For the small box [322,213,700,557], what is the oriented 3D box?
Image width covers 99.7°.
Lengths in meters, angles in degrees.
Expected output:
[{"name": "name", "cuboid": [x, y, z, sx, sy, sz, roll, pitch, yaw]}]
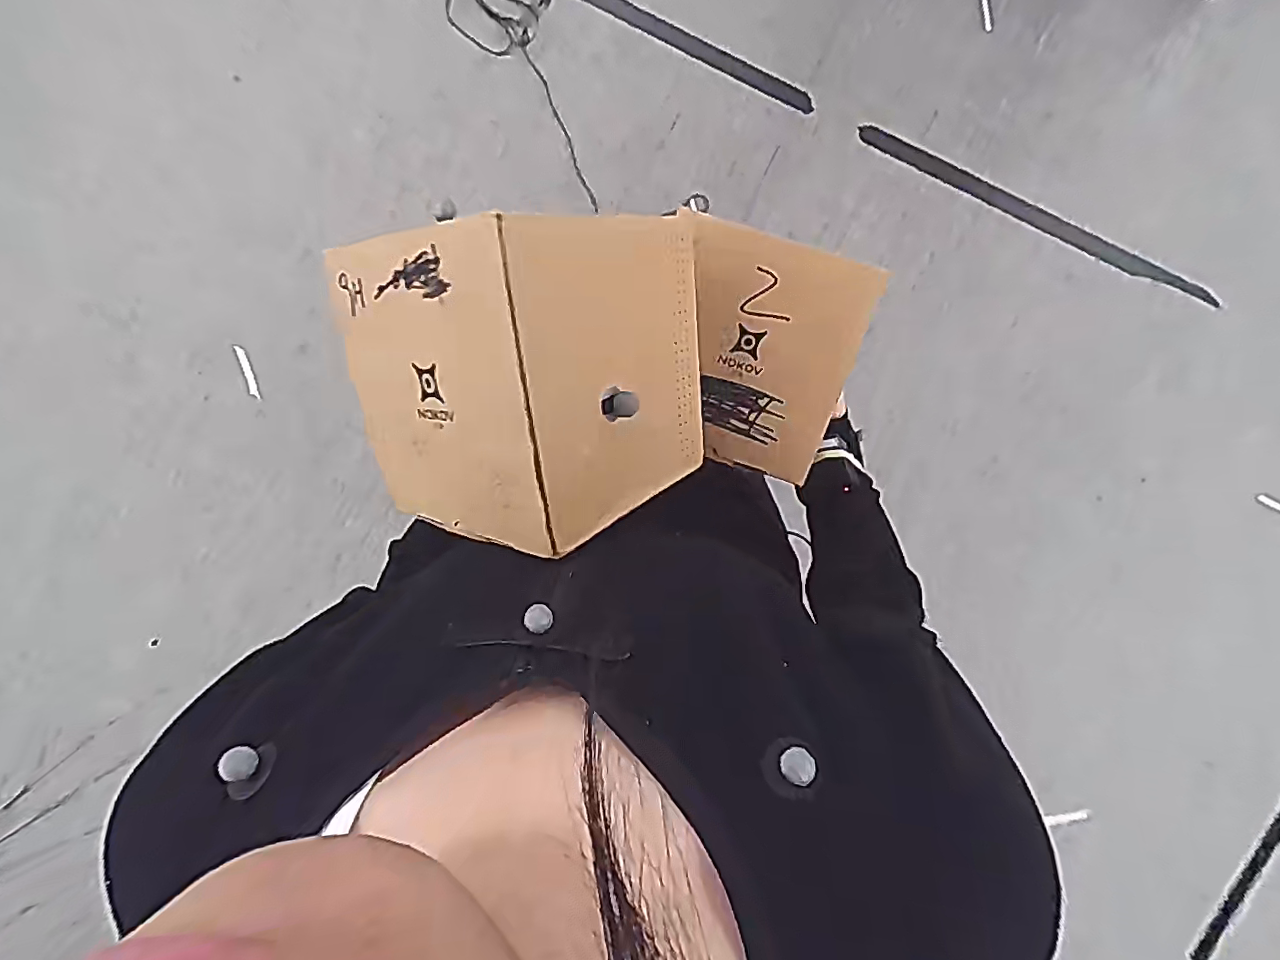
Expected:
[{"name": "small box", "cuboid": [-0.070, -0.076, 0.369, 0.168, 0.176, 0.179, 9, 116, 34]}]
